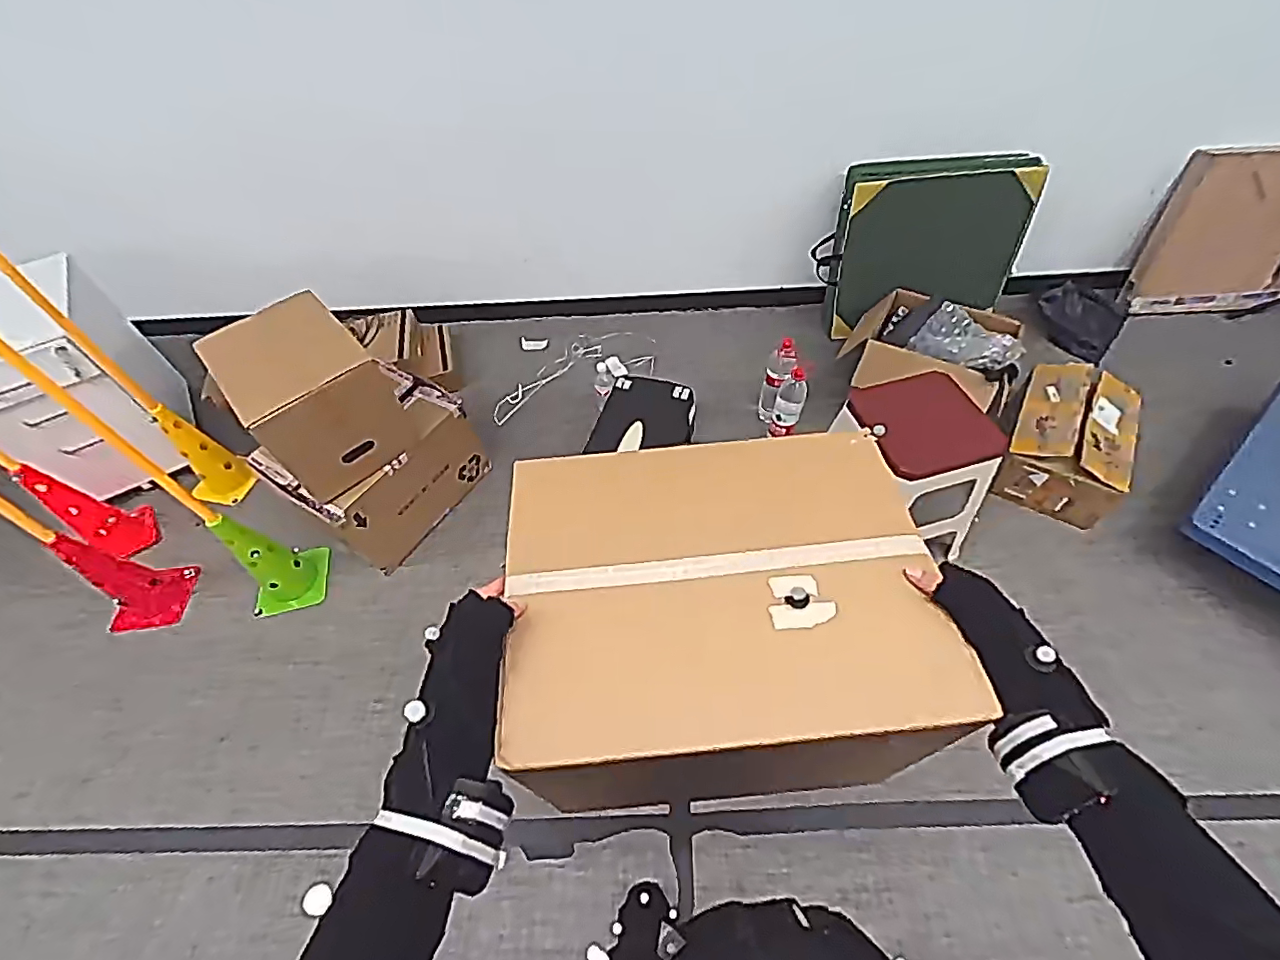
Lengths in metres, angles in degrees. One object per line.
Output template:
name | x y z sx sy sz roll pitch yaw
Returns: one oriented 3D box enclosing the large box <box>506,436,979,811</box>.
large box | 0.078 0.179 0.648 0.408 0.320 0.320 -5 53 -1
